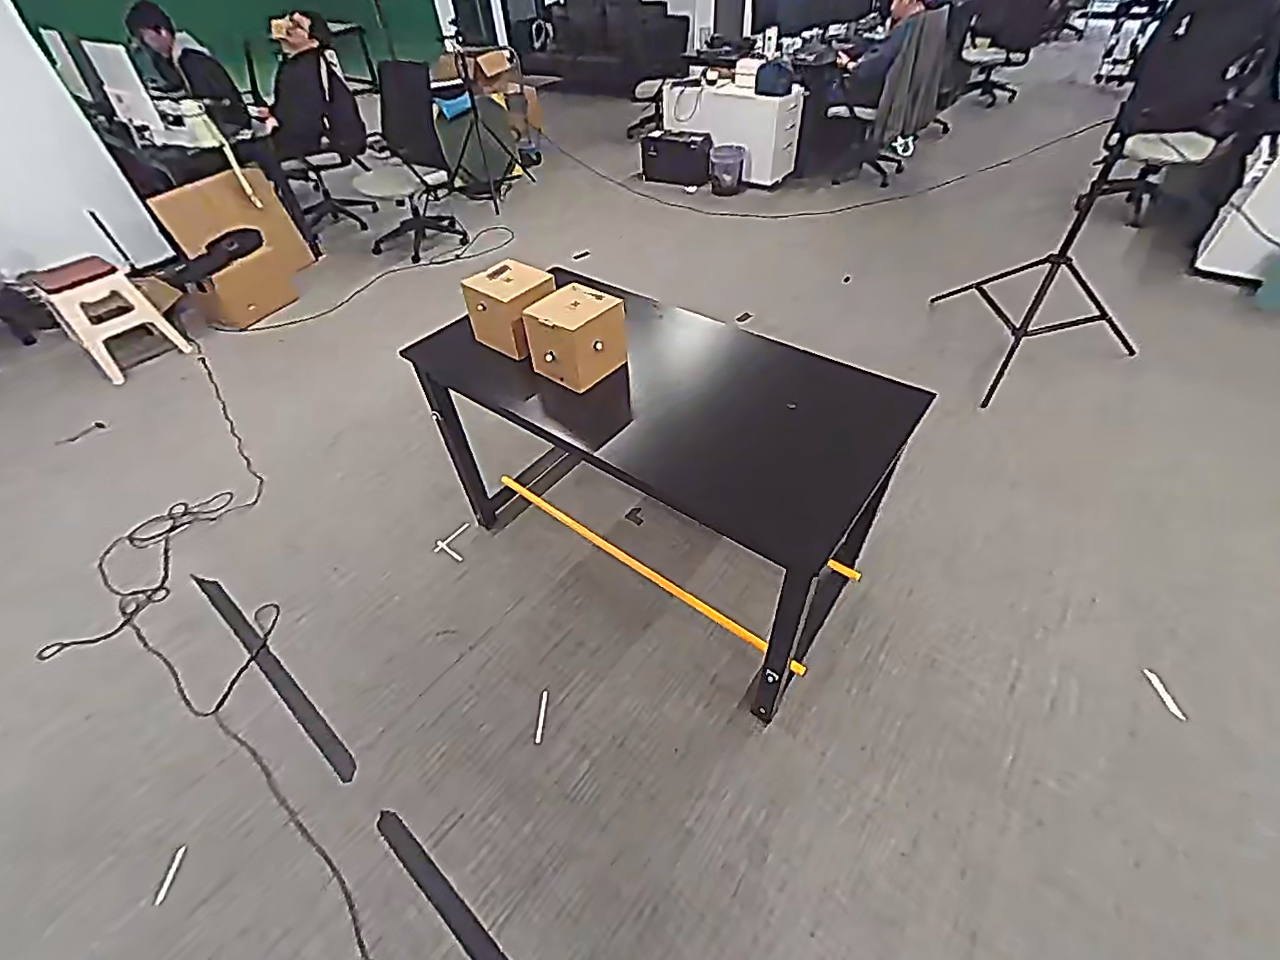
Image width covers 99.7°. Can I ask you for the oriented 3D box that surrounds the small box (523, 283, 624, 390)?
[{"bbox_3d":[-0.151,-0.345,1.308,0.168,0.176,0.179,29,55,26],"label":"small box"}]

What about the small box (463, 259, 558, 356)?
[{"bbox_3d":[-0.328,-0.449,1.417,0.179,0.176,0.168,29,55,27],"label":"small box"}]
